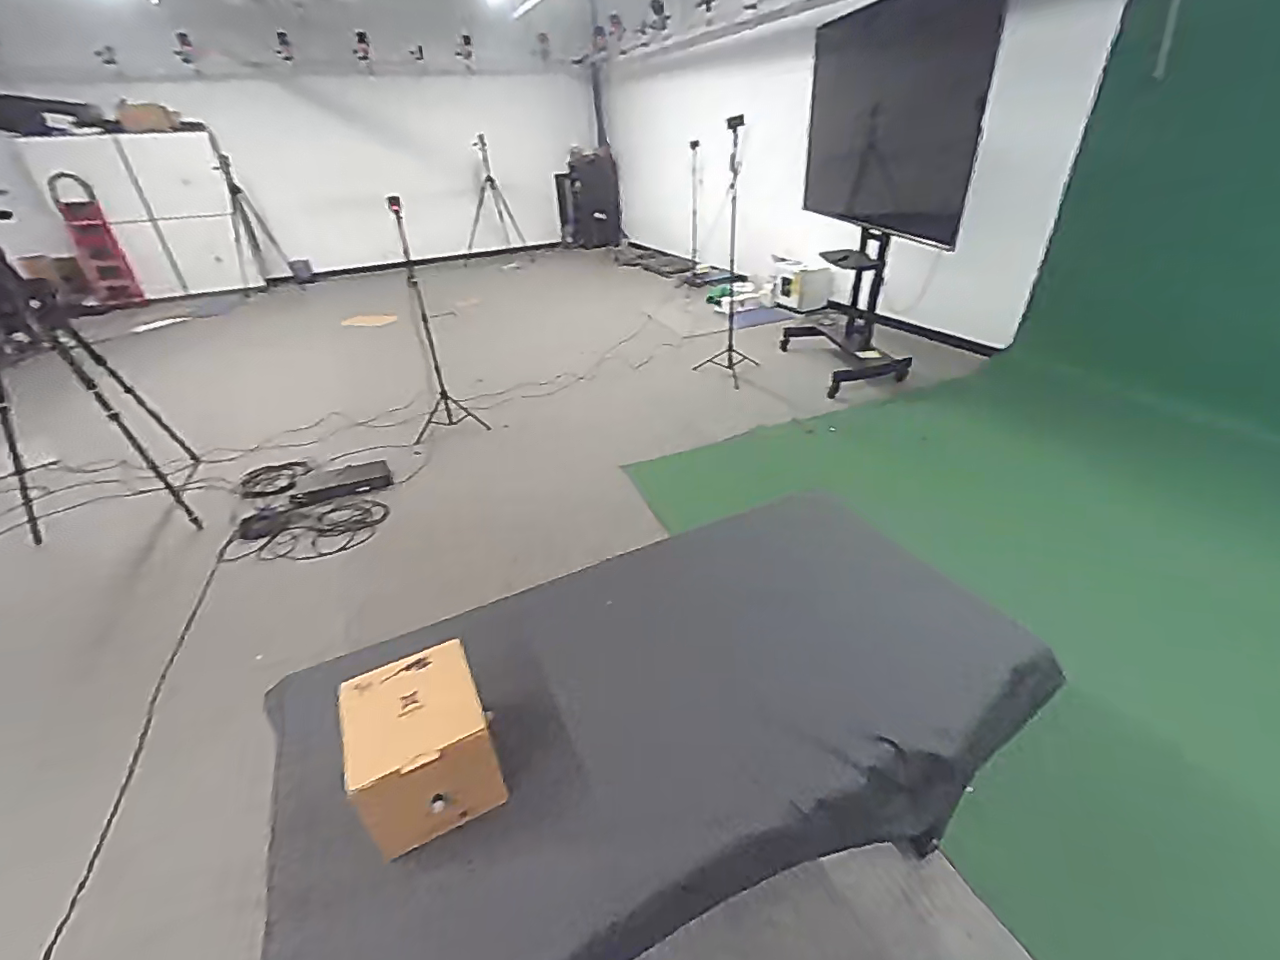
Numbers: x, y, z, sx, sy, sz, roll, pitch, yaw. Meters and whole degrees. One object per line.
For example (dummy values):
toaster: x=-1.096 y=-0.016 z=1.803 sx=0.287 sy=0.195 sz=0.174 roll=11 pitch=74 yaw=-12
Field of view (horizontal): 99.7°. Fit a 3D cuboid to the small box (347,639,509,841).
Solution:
small box: x=-0.298 y=0.371 z=0.770 sx=0.168 sy=0.176 sz=0.179 roll=-18 pitch=35 yaw=-21
